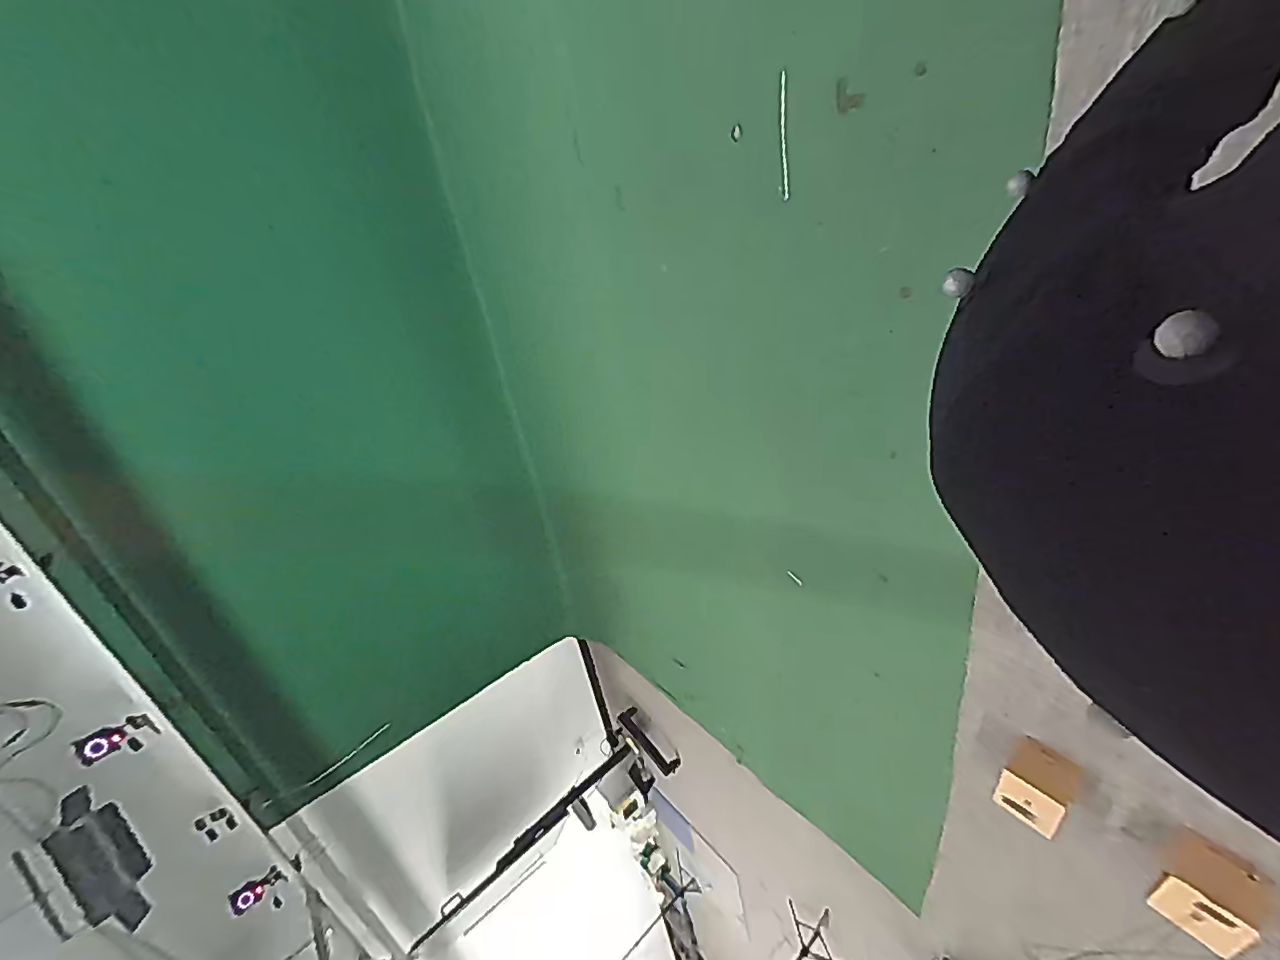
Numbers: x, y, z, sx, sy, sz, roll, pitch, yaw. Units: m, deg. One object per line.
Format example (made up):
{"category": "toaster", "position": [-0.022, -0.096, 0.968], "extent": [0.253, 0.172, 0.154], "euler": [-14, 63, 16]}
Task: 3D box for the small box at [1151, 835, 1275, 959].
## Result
{"category": "small box", "position": [1.495, 1.080, 1.410], "extent": [0.168, 0.176, 0.179], "euler": [31, 139, 43]}
